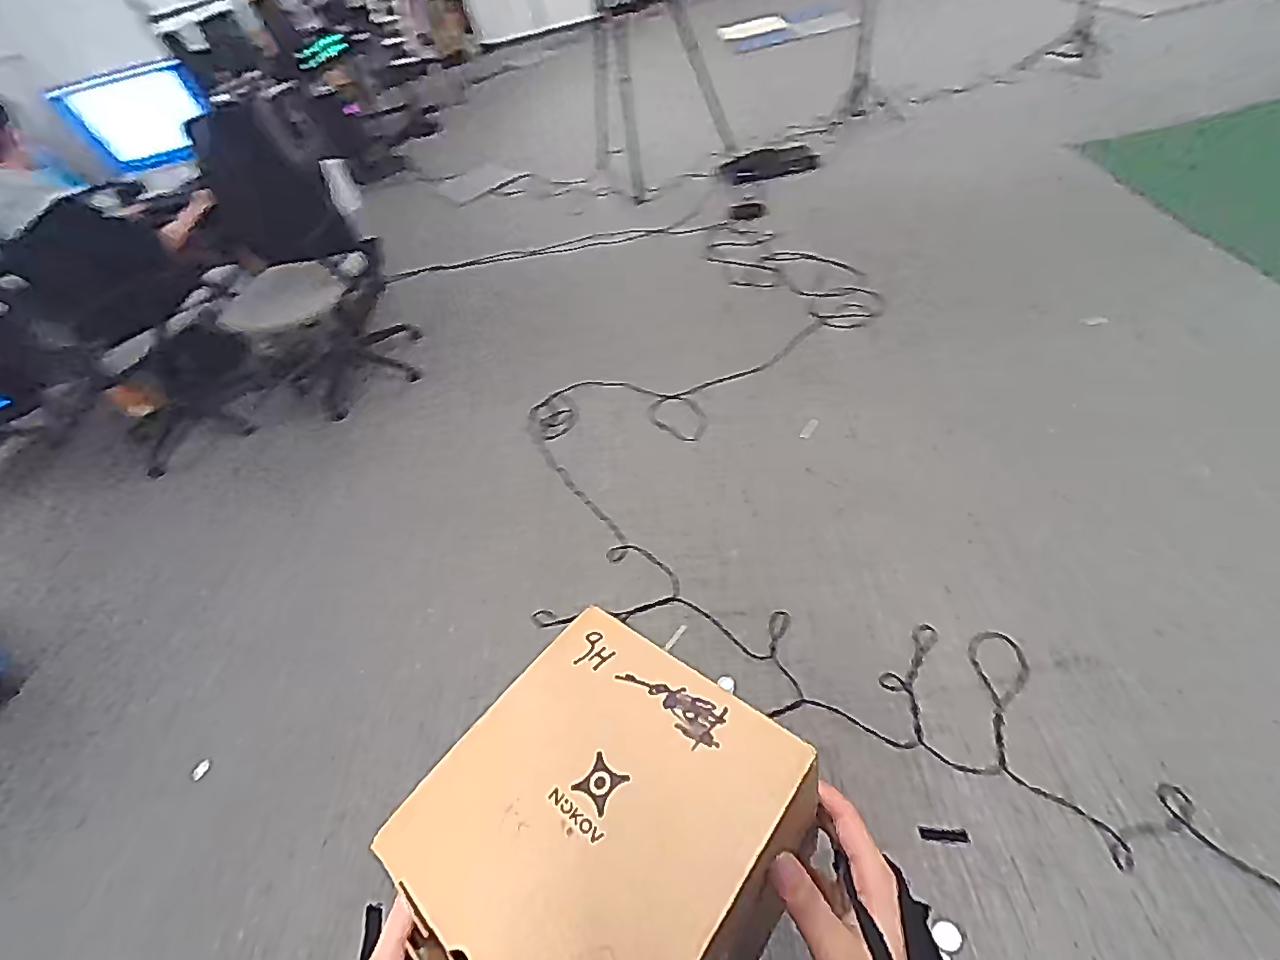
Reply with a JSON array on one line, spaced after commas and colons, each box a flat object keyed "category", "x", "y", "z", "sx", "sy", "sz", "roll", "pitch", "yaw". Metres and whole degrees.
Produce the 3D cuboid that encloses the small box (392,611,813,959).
[{"category": "small box", "x": -0.005, "y": 0.225, "z": 0.335, "sx": 0.168, "sy": 0.176, "sz": 0.179, "roll": 24, "pitch": 56, "yaw": 36}]
